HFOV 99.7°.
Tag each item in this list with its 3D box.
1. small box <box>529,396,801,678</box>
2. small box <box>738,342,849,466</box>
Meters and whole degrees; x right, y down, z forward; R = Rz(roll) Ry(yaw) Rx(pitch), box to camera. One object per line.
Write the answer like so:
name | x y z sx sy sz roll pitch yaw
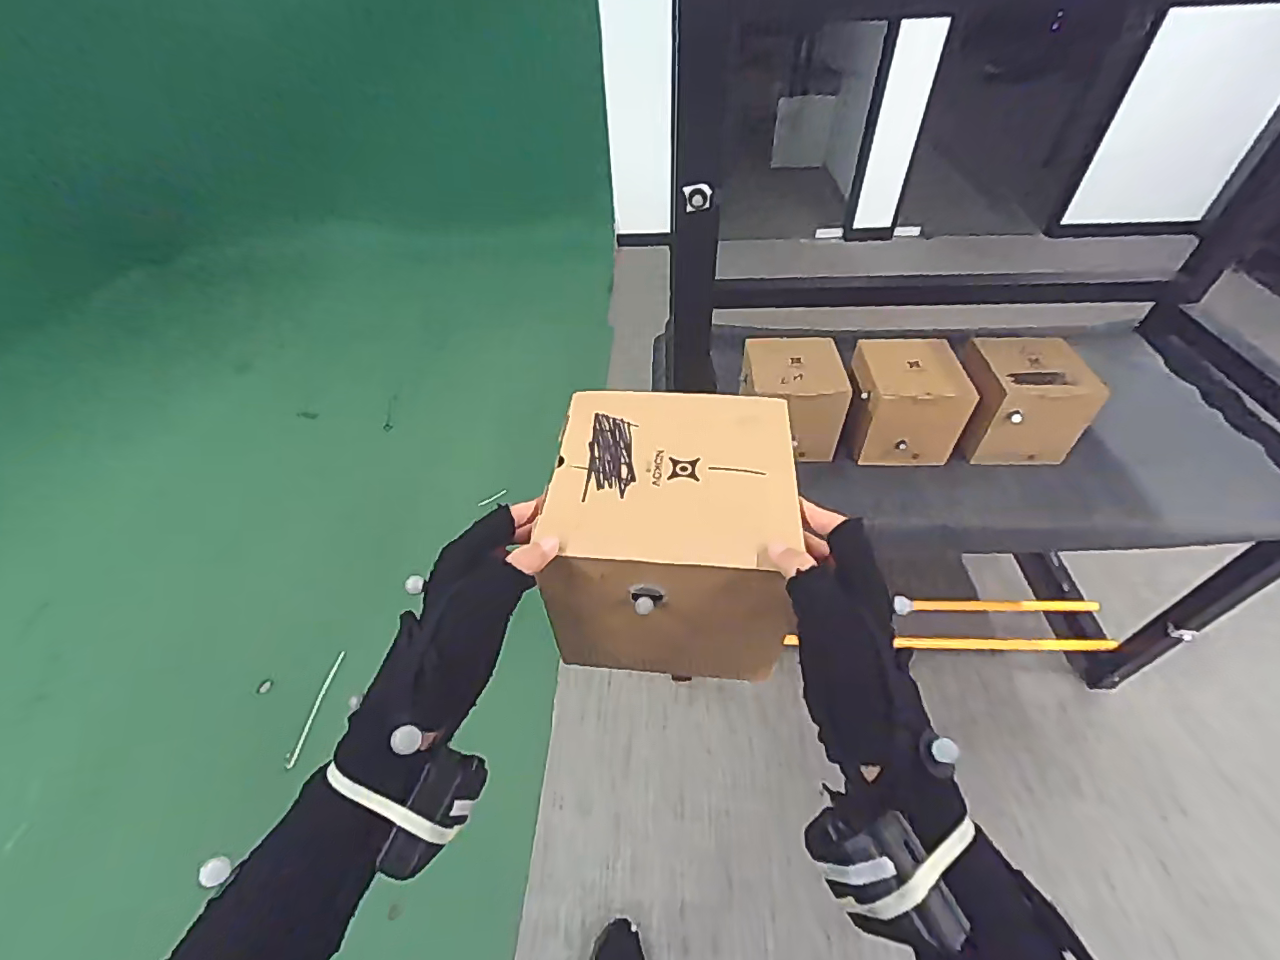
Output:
small box | 0.025 0.049 0.450 0.179 0.176 0.168 3 47 5
small box | 0.283 -0.147 1.041 0.168 0.176 0.179 0 46 3
